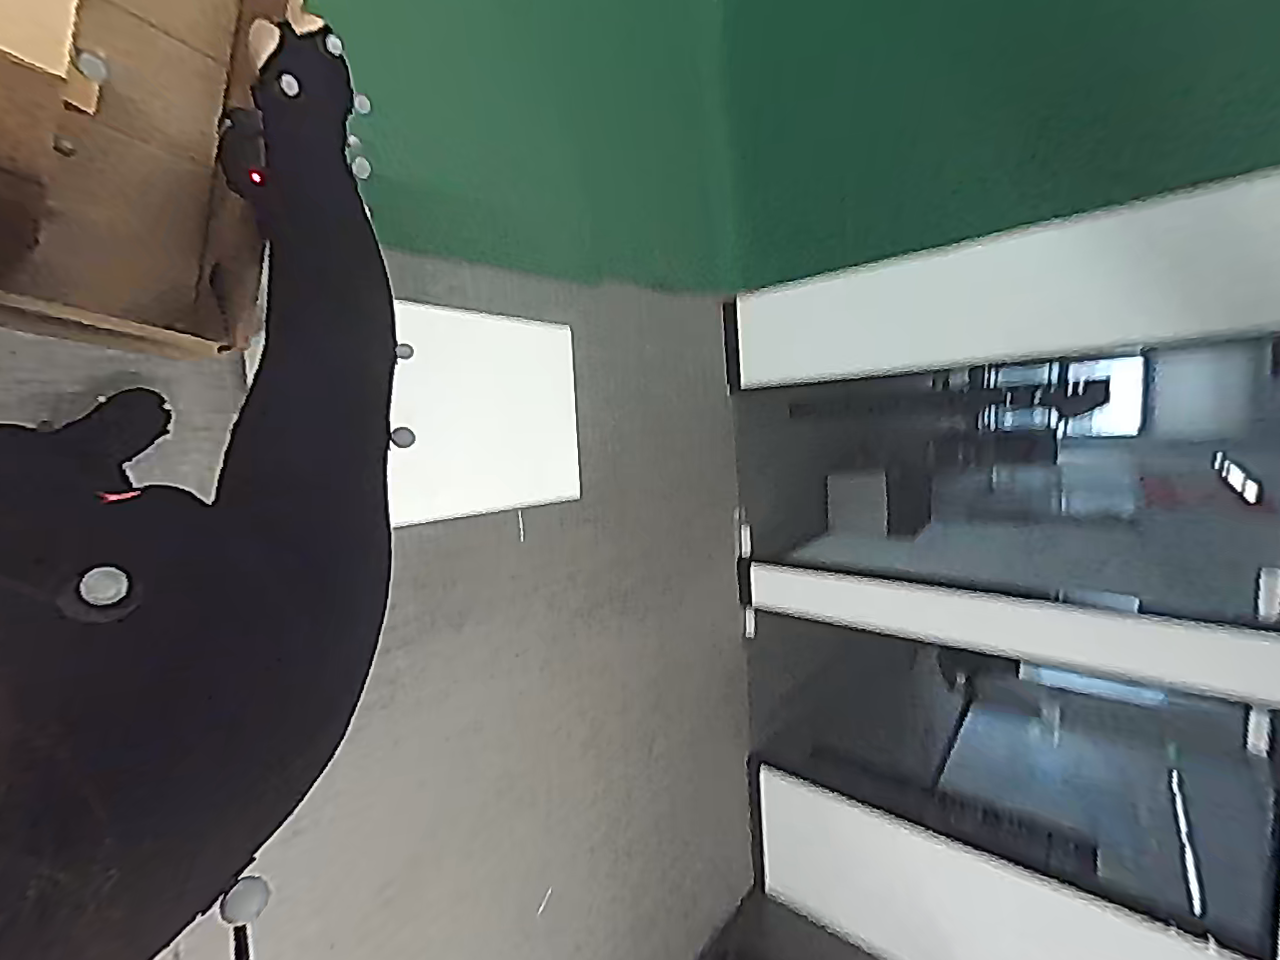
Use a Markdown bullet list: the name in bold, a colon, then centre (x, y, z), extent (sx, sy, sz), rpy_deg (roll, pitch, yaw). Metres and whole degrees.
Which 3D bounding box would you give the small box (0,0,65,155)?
- **small box**: centre (-0.370, -0.274, 0.227), extent (0.179, 0.176, 0.168), rpy_deg (7, 91, -52)
